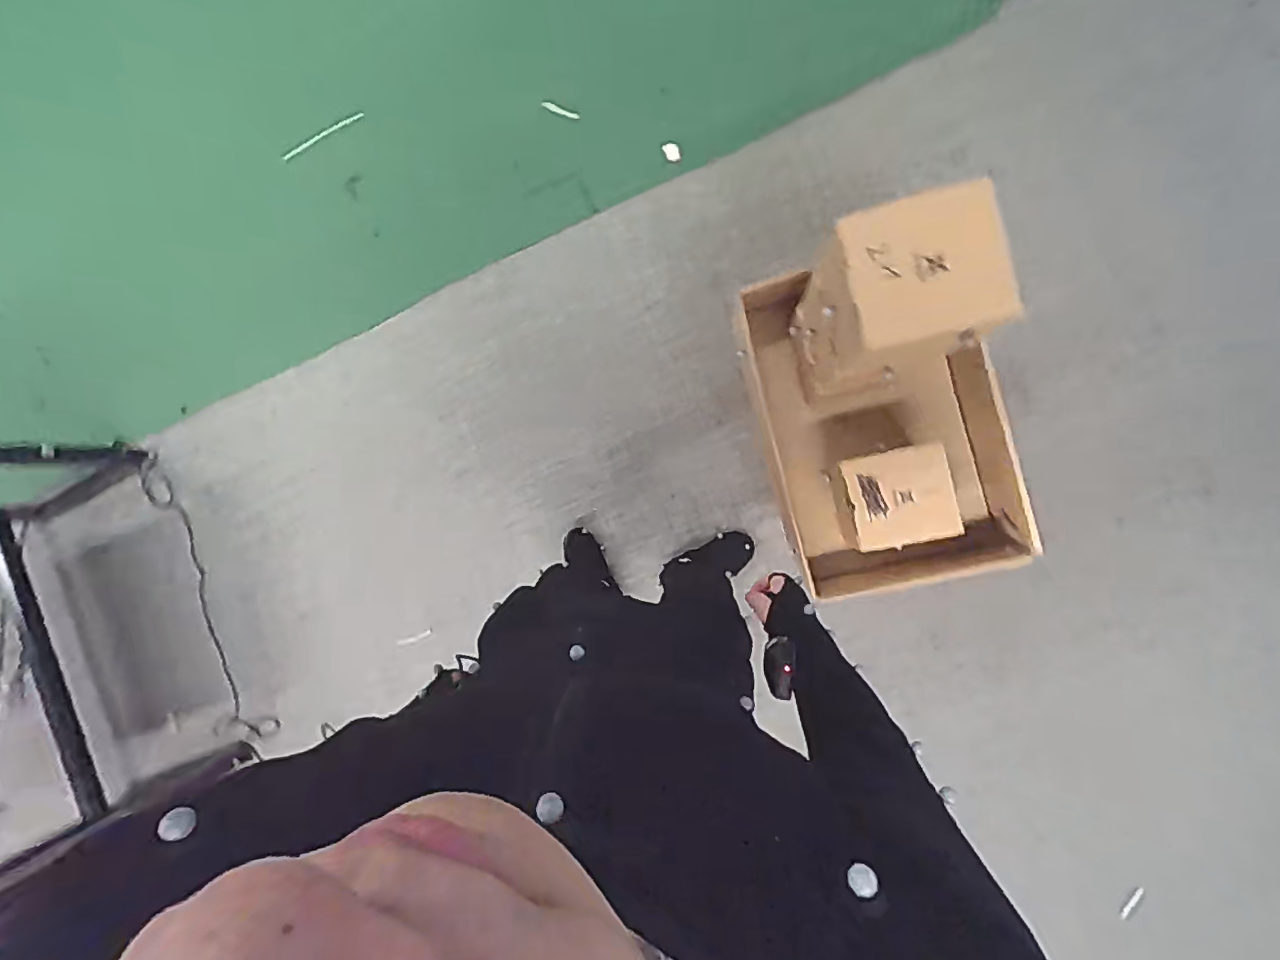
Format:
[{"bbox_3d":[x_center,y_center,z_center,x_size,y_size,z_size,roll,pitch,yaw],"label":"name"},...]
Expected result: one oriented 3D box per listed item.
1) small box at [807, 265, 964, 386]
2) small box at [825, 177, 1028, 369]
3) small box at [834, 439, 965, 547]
[{"bbox_3d":[0.383,-0.259,0.873,0.179,0.176,0.168,-12,90,11],"label":"small box"},{"bbox_3d":[0.358,-0.255,0.710,0.179,0.176,0.168,-11,89,10],"label":"small box"},{"bbox_3d":[0.477,0.024,1.027,0.179,0.176,0.168,-12,89,10],"label":"small box"}]
